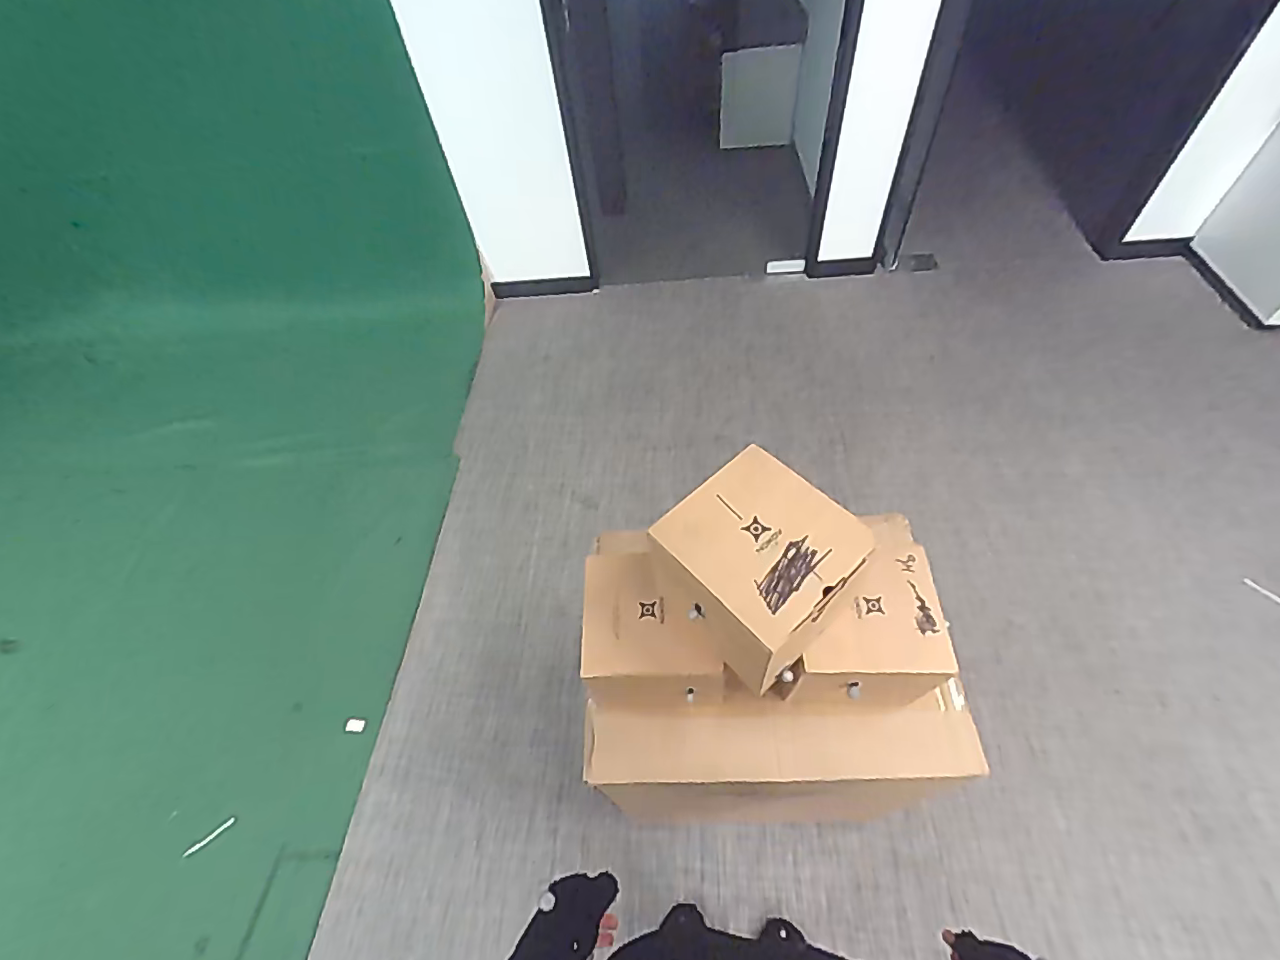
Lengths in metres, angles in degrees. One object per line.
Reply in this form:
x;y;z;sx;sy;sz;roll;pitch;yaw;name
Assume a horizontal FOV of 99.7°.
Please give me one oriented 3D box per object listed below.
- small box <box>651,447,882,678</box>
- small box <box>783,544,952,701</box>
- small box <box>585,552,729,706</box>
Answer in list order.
0.136;0.102;0.620;0.168;0.176;0.179;-37;59;-18;small box
0.286;0.199;0.737;0.179;0.176;0.168;-2;57;6;small box
0.026;0.212;0.758;0.179;0.176;0.168;-4;54;4;small box
